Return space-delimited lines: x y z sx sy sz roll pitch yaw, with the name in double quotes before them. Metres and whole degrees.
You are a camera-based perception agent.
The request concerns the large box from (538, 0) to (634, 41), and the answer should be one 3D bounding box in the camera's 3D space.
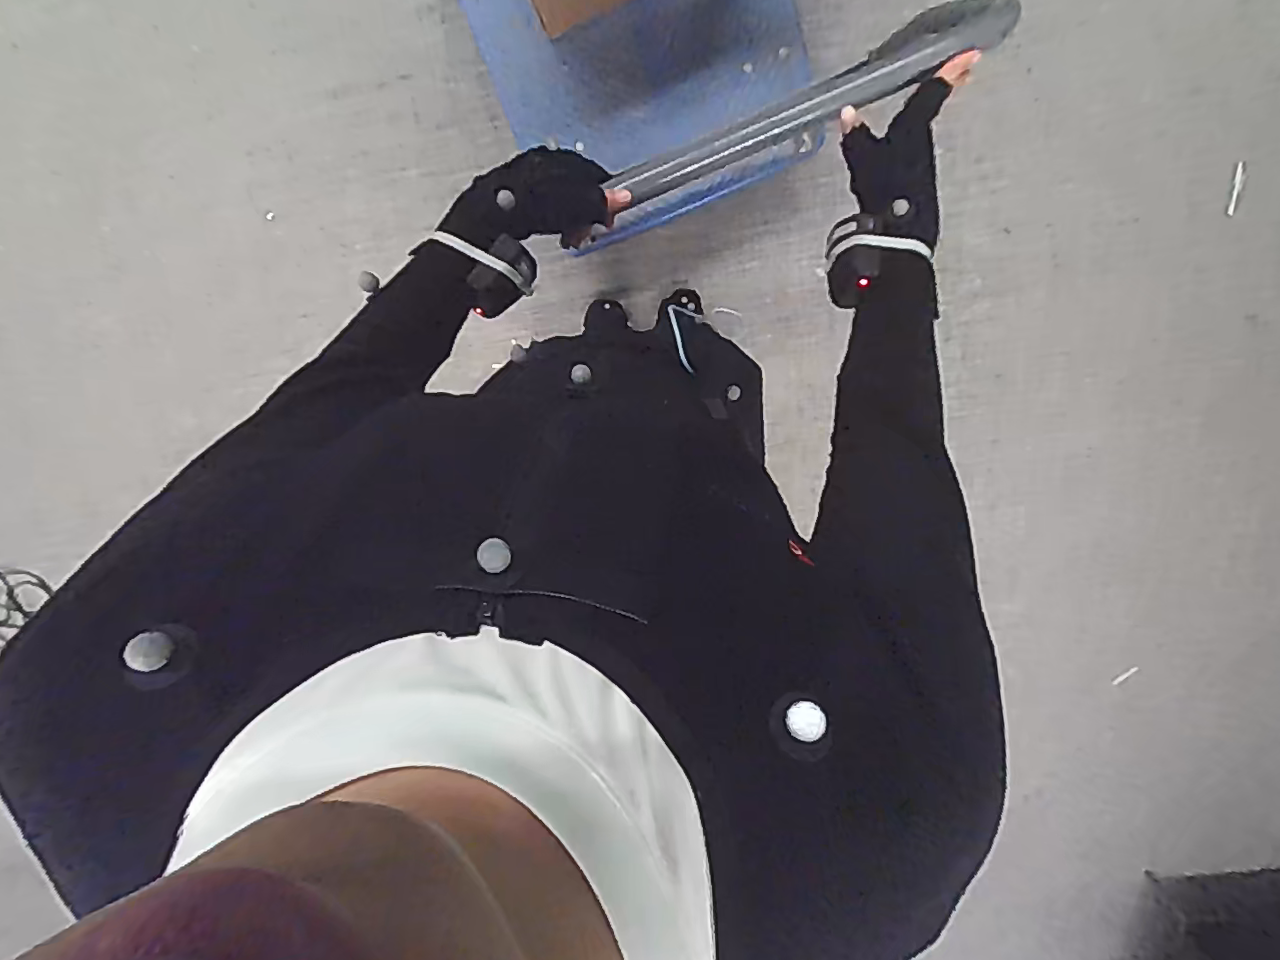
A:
"large box" -0.038 -0.977 0.809 0.408 0.320 0.320 -23 109 9
